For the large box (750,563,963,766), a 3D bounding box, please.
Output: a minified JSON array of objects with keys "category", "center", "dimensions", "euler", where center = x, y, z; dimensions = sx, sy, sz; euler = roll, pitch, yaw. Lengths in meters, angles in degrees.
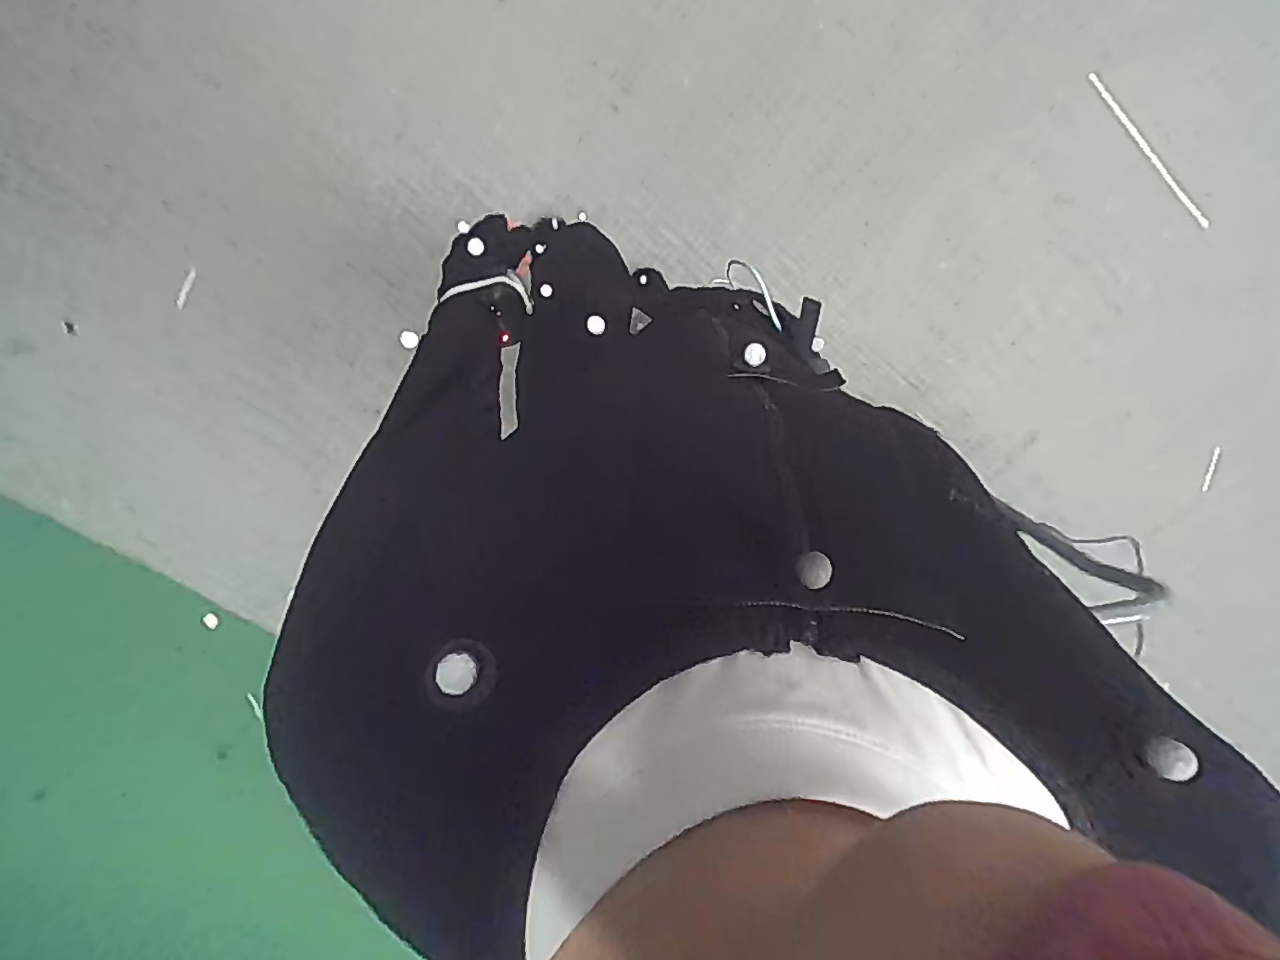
[{"category":"large box","center":[0.536,0.458,1.388],"dimensions":[0.408,0.320,0.320],"euler":[-15,114,4]}]
